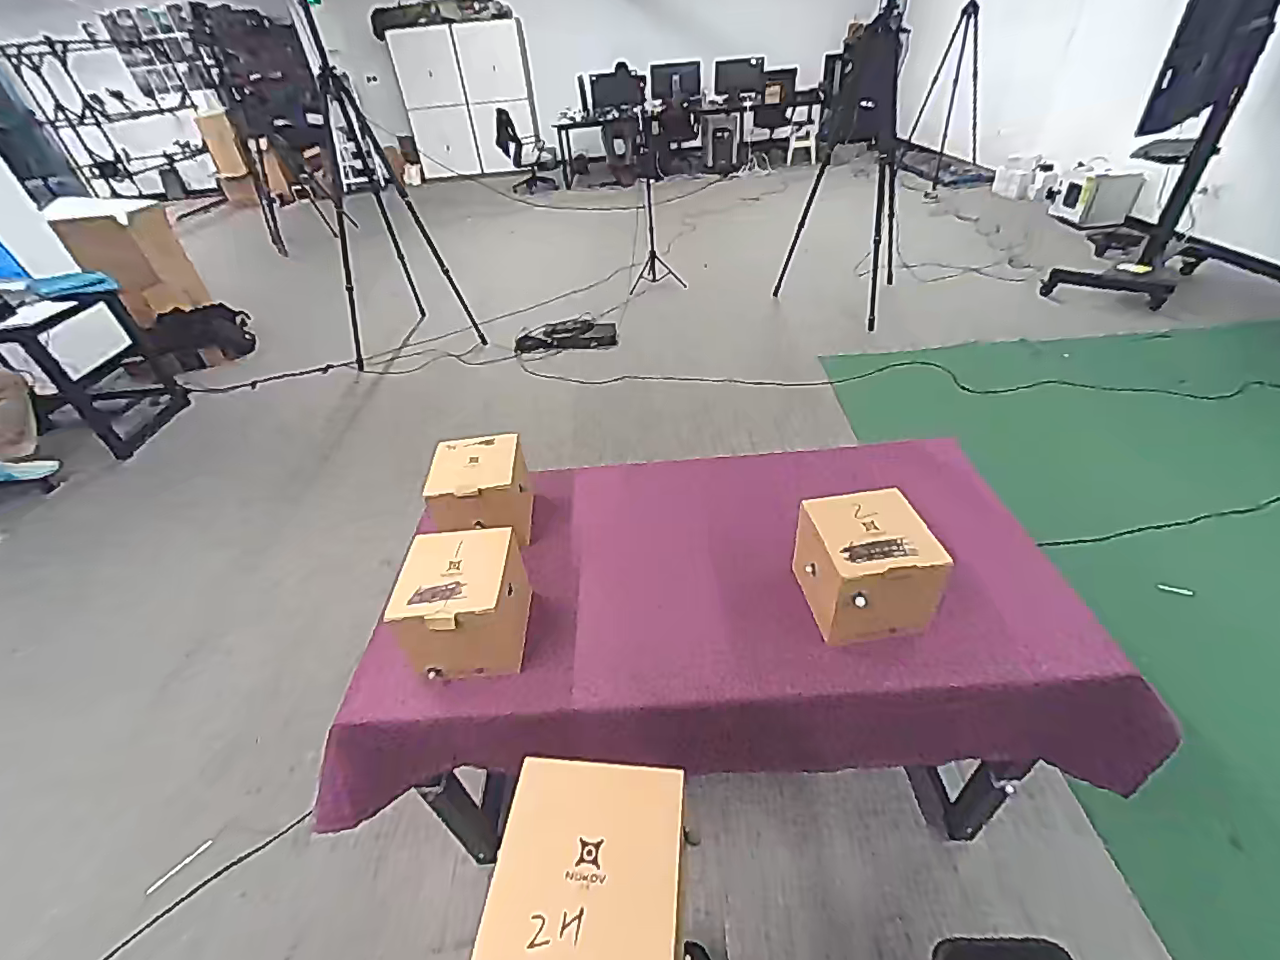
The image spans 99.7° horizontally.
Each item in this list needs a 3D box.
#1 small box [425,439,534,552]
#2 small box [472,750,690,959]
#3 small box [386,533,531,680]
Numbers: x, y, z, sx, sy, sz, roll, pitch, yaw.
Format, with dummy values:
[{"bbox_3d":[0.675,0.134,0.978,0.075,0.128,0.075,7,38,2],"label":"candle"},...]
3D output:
[{"bbox_3d":[-0.317,0.041,1.108,0.168,0.176,0.179,-7,40,-2],"label":"small box"},{"bbox_3d":[-0.039,0.400,0.535,0.168,0.176,0.179,0,40,10],"label":"small box"},{"bbox_3d":[-0.282,0.212,0.890,0.168,0.176,0.179,-5,37,1],"label":"small box"}]
